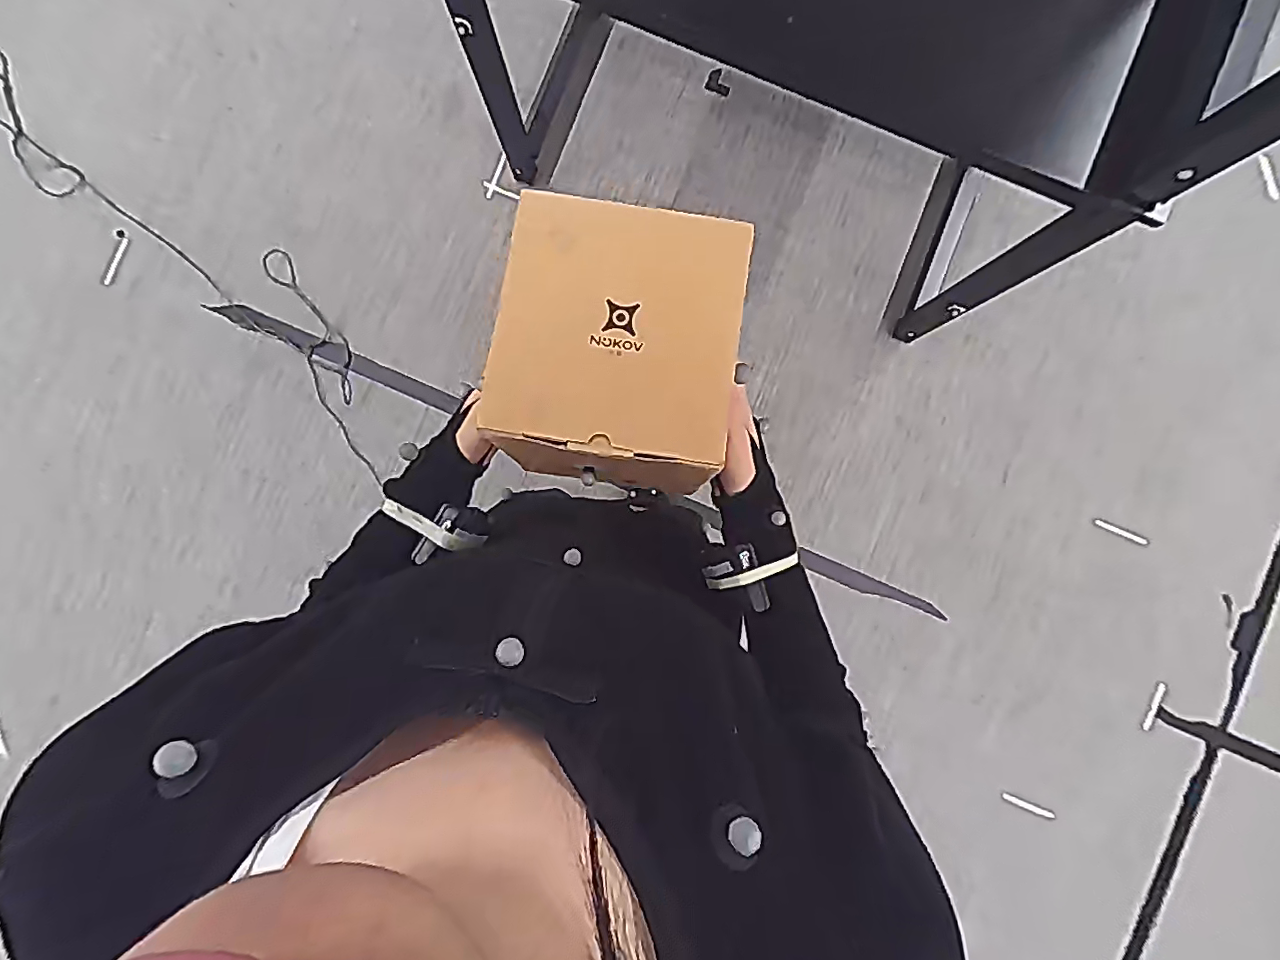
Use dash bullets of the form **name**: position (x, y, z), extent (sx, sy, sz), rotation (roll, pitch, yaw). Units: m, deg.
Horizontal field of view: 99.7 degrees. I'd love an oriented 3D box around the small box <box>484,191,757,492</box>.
- **small box**: position (-0.013, -0.094, 0.444), extent (0.168, 0.176, 0.179), rotation (8, 83, 0)
